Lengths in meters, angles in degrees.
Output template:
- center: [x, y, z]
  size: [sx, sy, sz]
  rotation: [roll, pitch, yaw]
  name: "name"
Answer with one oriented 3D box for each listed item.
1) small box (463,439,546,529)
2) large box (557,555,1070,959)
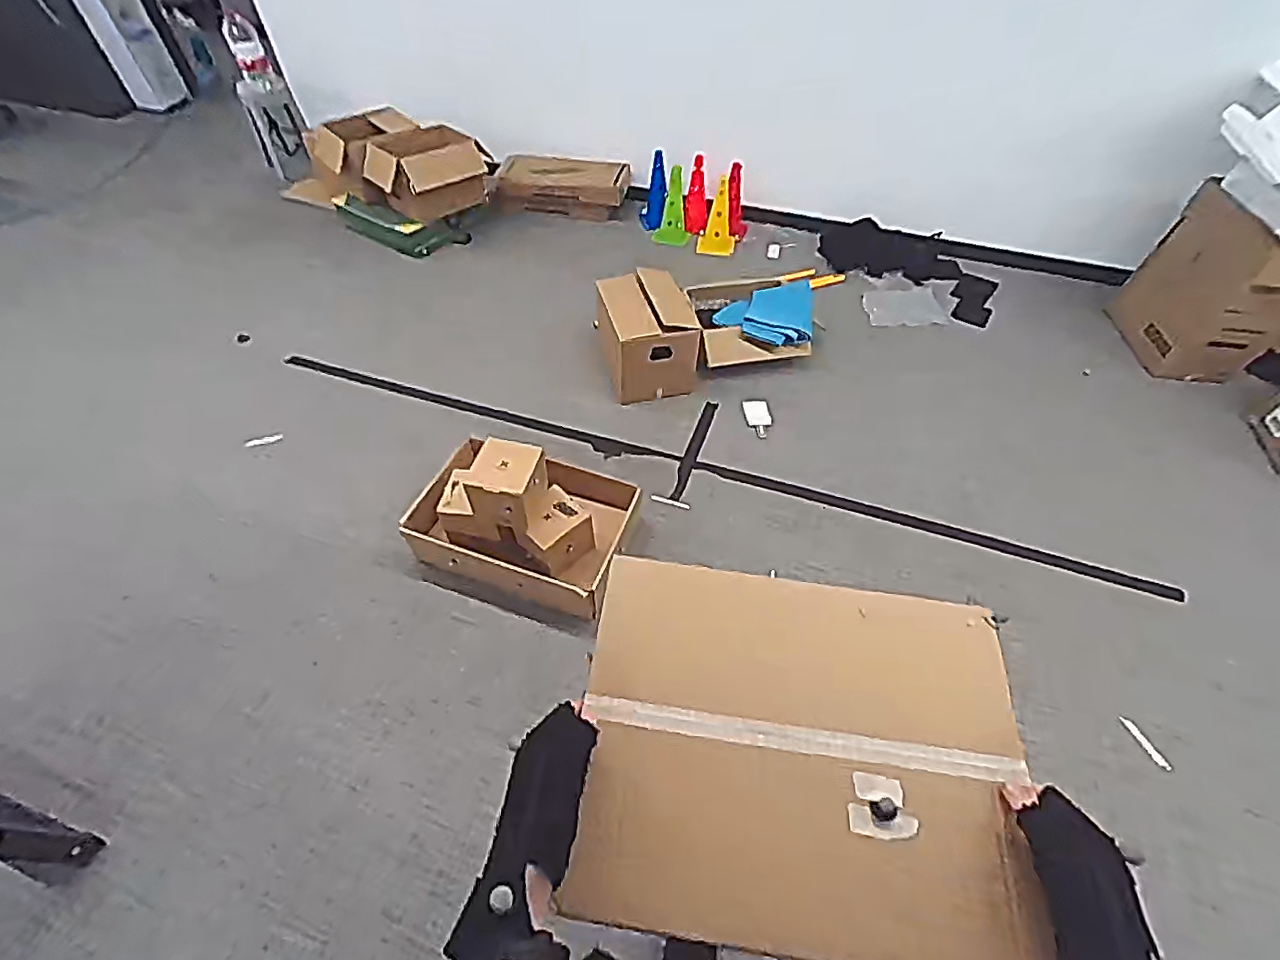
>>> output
- center: [-0.370, 0.014, 1.519]
  size: [0.168, 0.176, 0.179]
  rotation: [11, 50, 6]
  name: "small box"
- center: [0.142, 0.310, 0.618]
  size: [0.408, 0.320, 0.320]
  rotation: [7, 57, 3]
  name: "large box"
